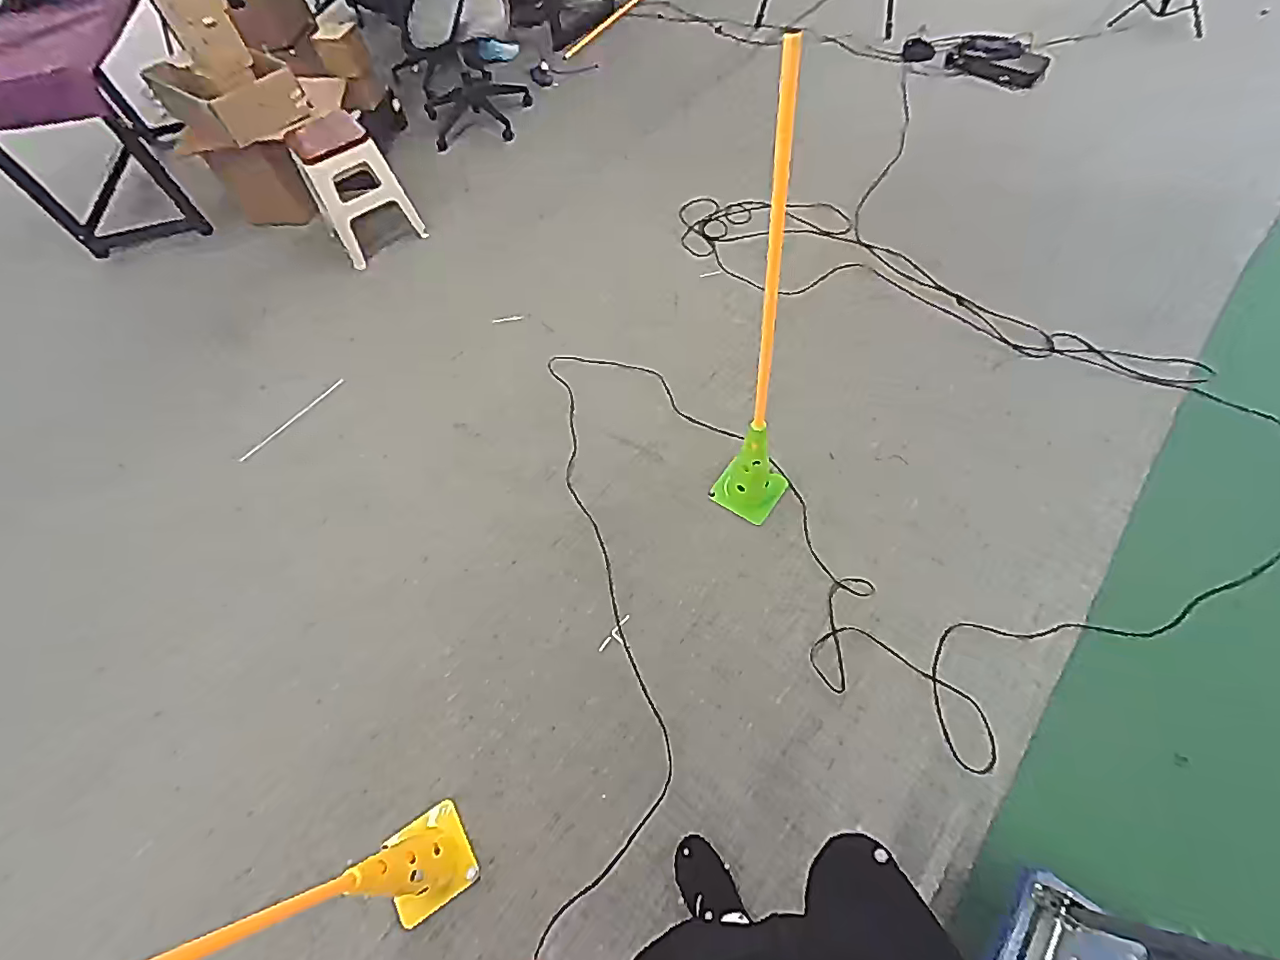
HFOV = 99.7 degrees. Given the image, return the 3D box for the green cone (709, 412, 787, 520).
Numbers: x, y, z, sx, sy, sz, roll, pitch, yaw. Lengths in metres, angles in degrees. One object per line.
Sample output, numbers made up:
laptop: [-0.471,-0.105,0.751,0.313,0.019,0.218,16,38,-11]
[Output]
green cone: [0.338,-0.071,1.608,0.200,0.368,0.202,30,66,21]
